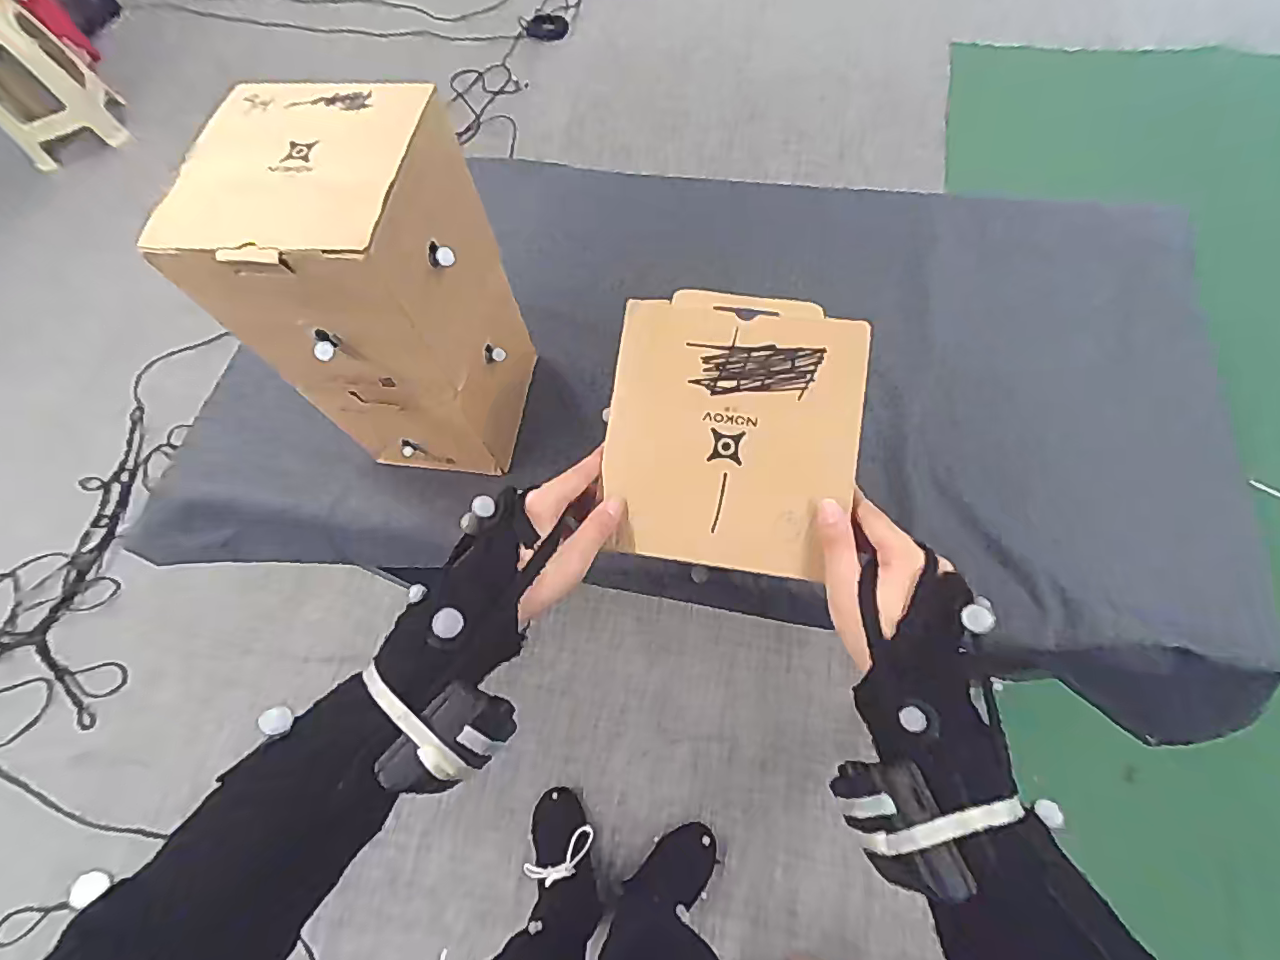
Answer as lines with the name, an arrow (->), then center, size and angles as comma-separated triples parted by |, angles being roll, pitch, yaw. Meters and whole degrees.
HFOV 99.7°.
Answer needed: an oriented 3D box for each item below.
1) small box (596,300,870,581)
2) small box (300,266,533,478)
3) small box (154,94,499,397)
small box -> 0.070, -0.020, 0.440 | 0.168, 0.176, 0.179 | 8, 83, 7
small box -> -0.228, -0.121, 0.611 | 0.168, 0.176, 0.179 | 5, 66, 6
small box -> -0.234, -0.187, 0.461 | 0.168, 0.176, 0.179 | 4, 66, 6
